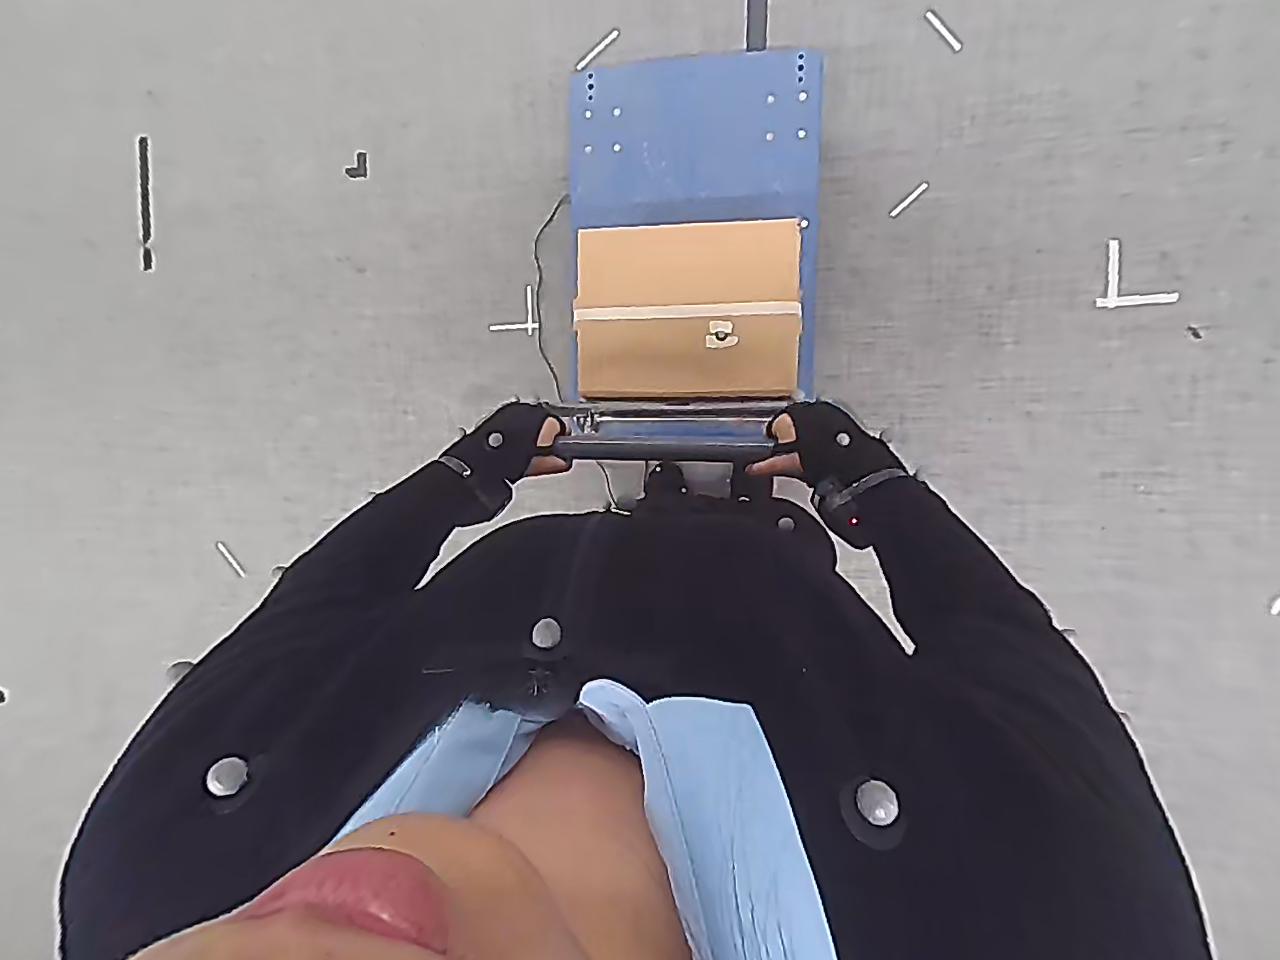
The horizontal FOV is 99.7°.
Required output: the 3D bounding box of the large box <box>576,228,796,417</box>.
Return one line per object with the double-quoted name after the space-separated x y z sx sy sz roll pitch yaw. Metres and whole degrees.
0.097 -0.299 1.133 0.408 0.320 0.320 1 95 7 "large box"
